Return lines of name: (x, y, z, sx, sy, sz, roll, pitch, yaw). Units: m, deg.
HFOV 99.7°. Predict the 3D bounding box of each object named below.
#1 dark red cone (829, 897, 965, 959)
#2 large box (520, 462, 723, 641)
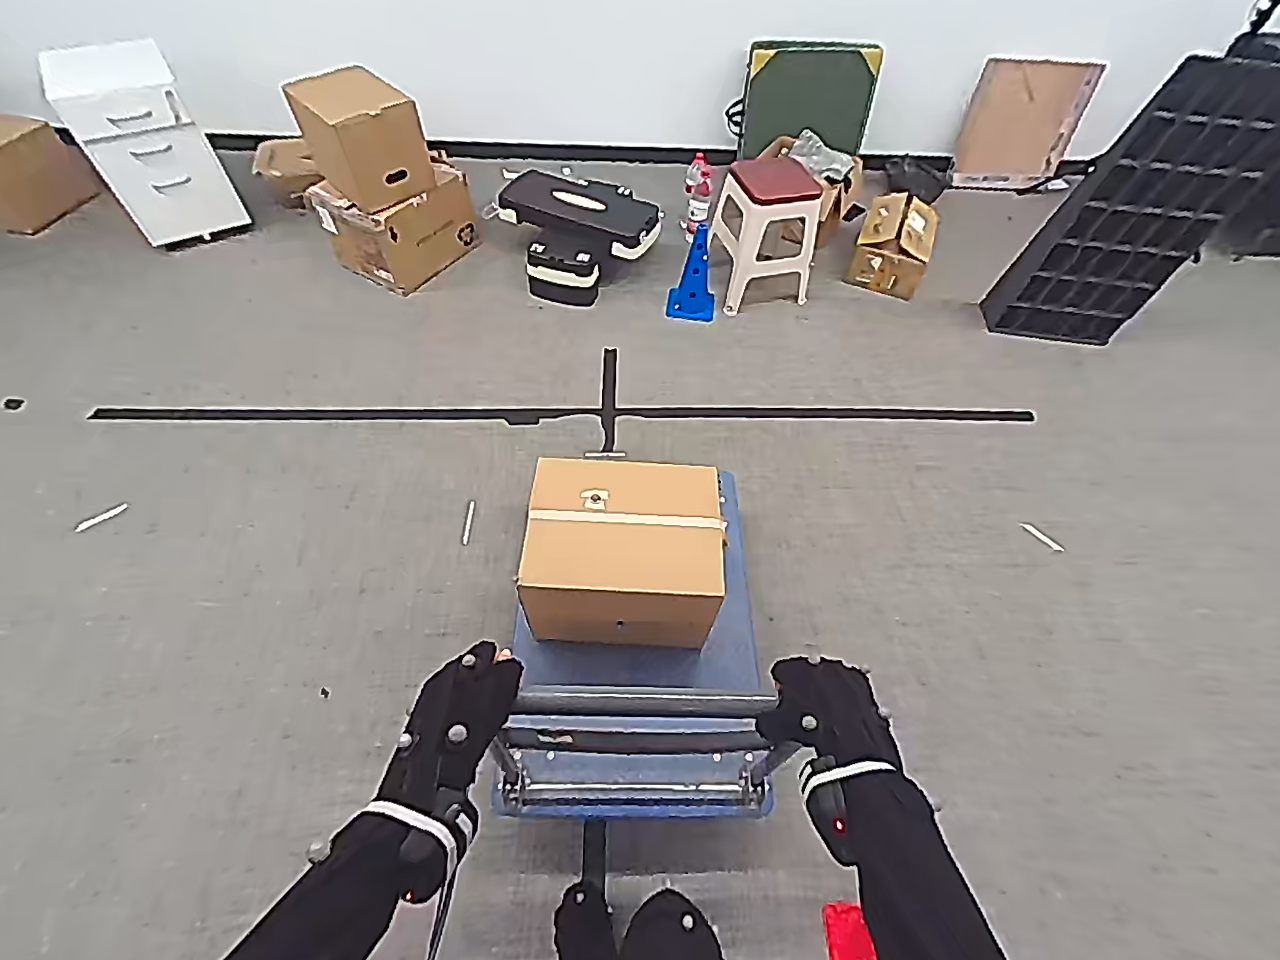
dark red cone: (0.503, 0.866, 0.946, 0.201, 0.394, 0.202, 2, 55, -4)
large box: (-0.036, 0.175, 1.258, 0.408, 0.320, 0.320, 3, 55, 0)
